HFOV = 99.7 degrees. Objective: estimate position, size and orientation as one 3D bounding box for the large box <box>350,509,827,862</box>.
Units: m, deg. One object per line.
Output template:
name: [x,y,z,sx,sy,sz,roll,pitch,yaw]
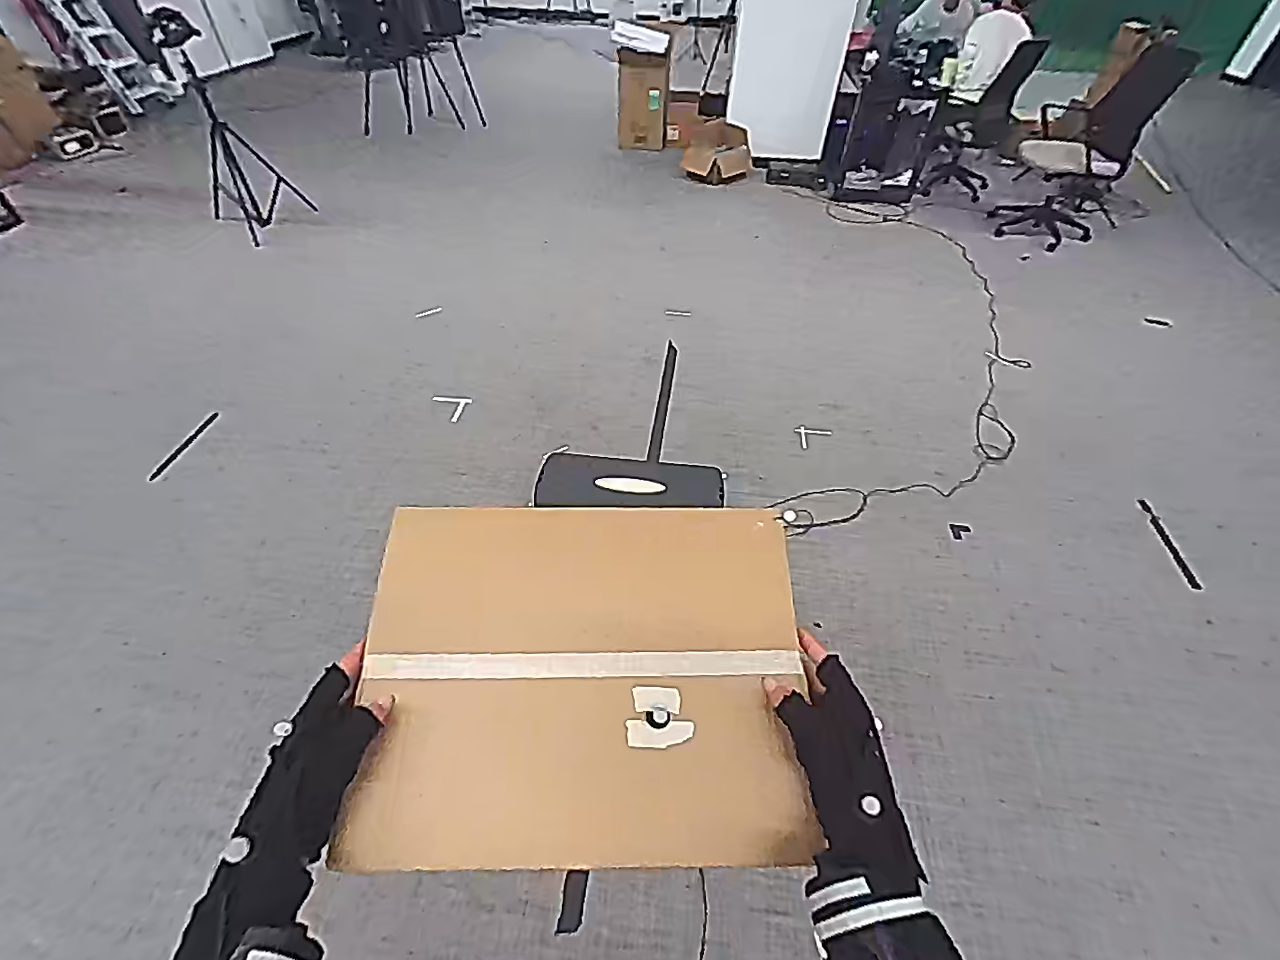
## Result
large box: [-0.048,0.236,0.643,0.408,0.320,0.320,1,65,-2]
